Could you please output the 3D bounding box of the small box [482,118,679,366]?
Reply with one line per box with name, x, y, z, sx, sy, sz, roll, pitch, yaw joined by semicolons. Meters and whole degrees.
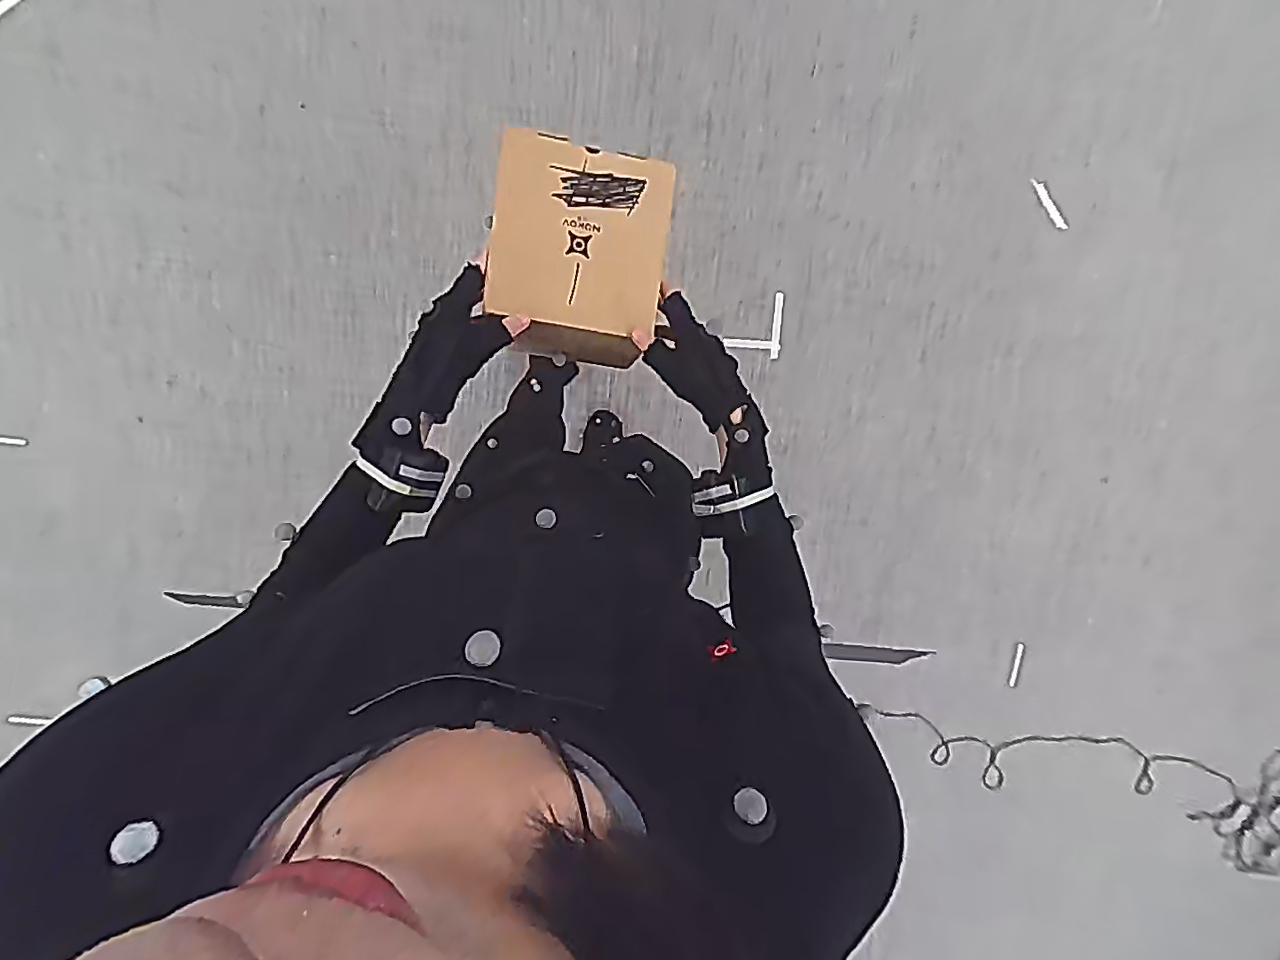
small box;-0.067;-0.235;0.583;0.168;0.176;0.179;8;91;-9
